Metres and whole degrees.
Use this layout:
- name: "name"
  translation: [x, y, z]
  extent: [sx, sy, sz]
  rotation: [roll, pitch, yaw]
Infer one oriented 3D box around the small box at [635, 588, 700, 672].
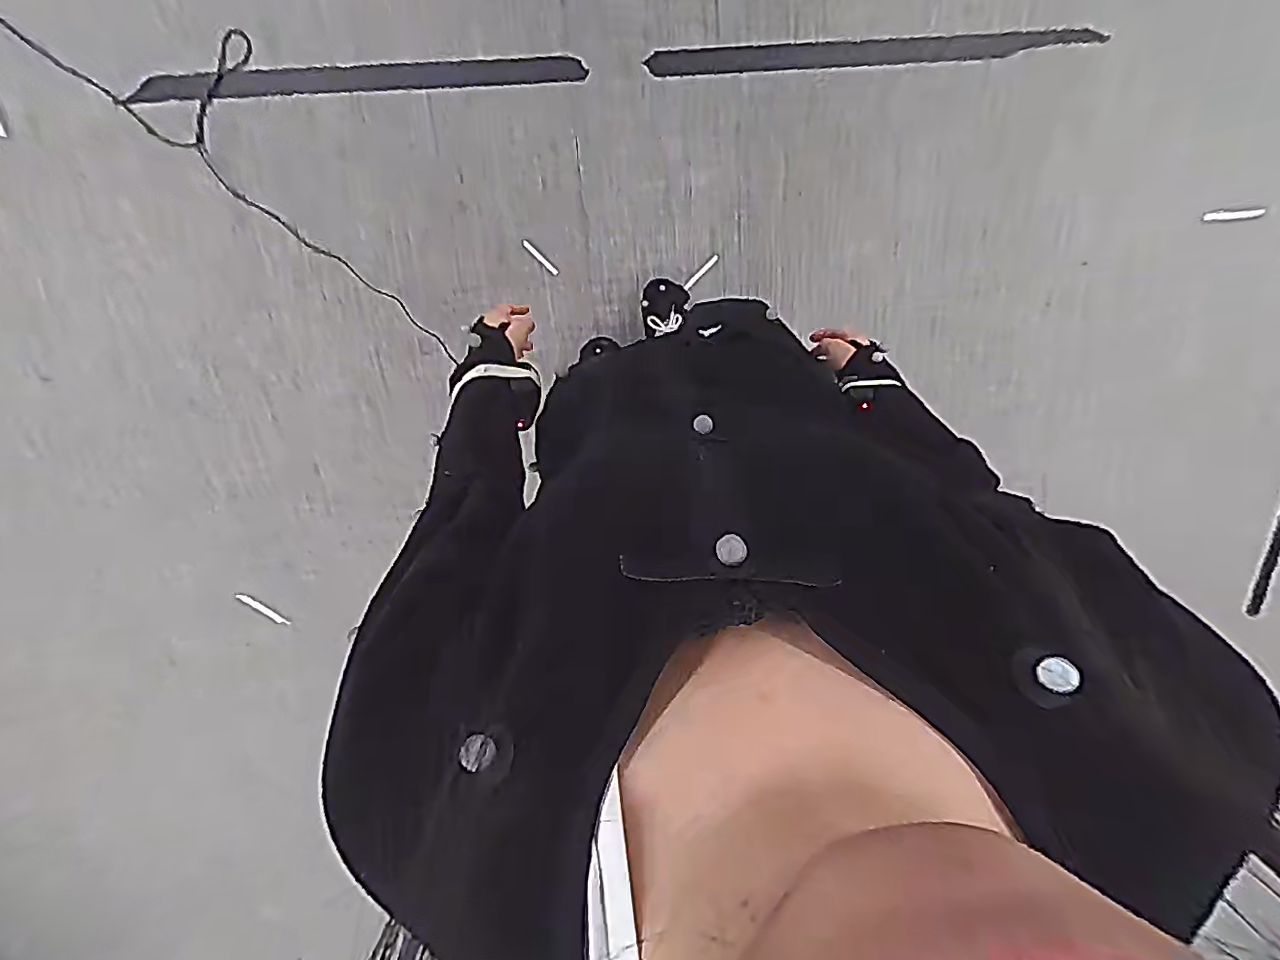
- name: "small box"
  translation: [0.078, 0.432, 1.591]
  extent: [0.168, 0.176, 0.179]
  rotation: [-8, 109, 1]
